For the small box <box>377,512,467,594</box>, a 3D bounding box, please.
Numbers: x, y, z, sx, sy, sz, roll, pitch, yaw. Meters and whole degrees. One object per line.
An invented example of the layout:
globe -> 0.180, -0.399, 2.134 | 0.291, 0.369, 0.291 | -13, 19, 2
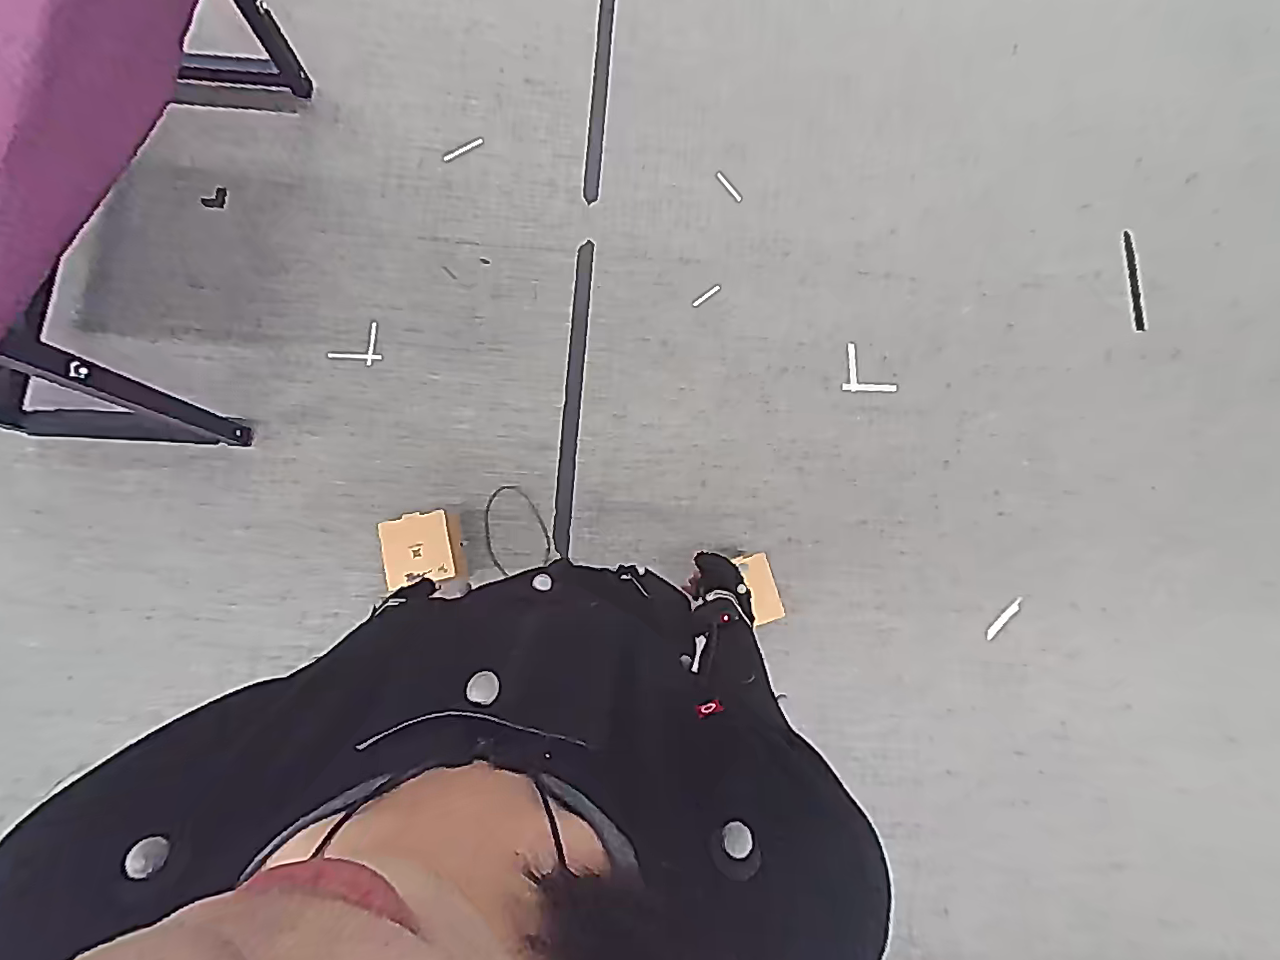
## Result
small box -> -0.563, 0.195, 1.411 | 0.168, 0.176, 0.179 | -12, 80, -7

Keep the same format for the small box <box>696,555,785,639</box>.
small box -> 0.262, 0.311, 1.458 | 0.168, 0.176, 0.179 | -17, 83, -6
